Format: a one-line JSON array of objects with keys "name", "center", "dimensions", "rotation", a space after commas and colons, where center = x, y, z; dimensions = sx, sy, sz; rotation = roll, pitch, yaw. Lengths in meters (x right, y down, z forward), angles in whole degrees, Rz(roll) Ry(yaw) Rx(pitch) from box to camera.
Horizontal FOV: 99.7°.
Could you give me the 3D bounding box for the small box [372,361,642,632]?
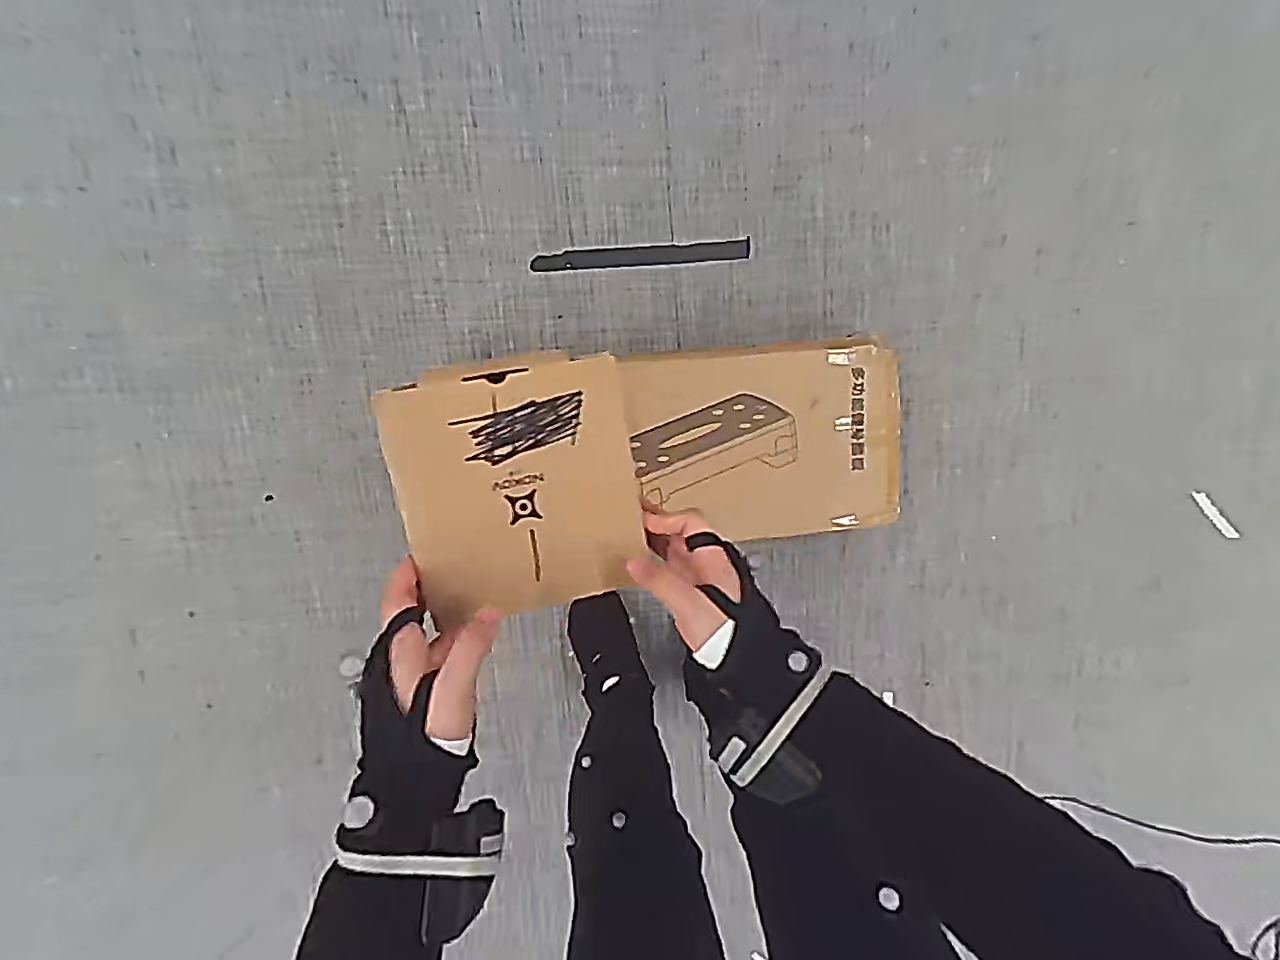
[{"name": "small box", "center": [-0.106, 0.002, 0.468], "dimensions": [0.168, 0.176, 0.179], "rotation": [-12, 101, -9]}]
